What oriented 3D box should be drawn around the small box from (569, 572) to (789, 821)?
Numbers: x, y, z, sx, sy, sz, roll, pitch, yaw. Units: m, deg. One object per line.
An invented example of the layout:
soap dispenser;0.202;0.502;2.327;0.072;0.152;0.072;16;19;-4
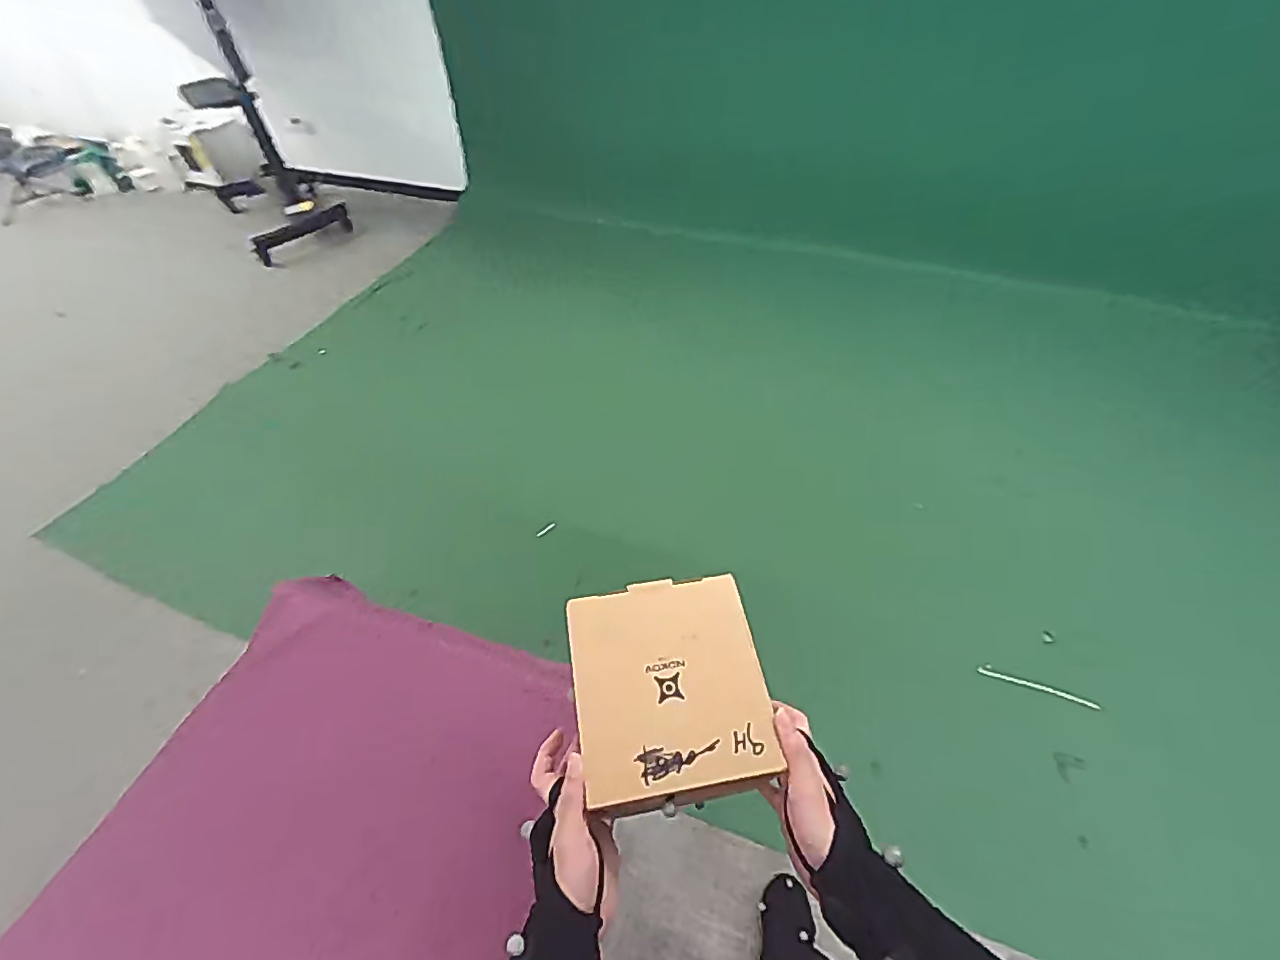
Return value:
small box;0.025;0.214;0.528;0.168;0.176;0.179;-8;55;-5
